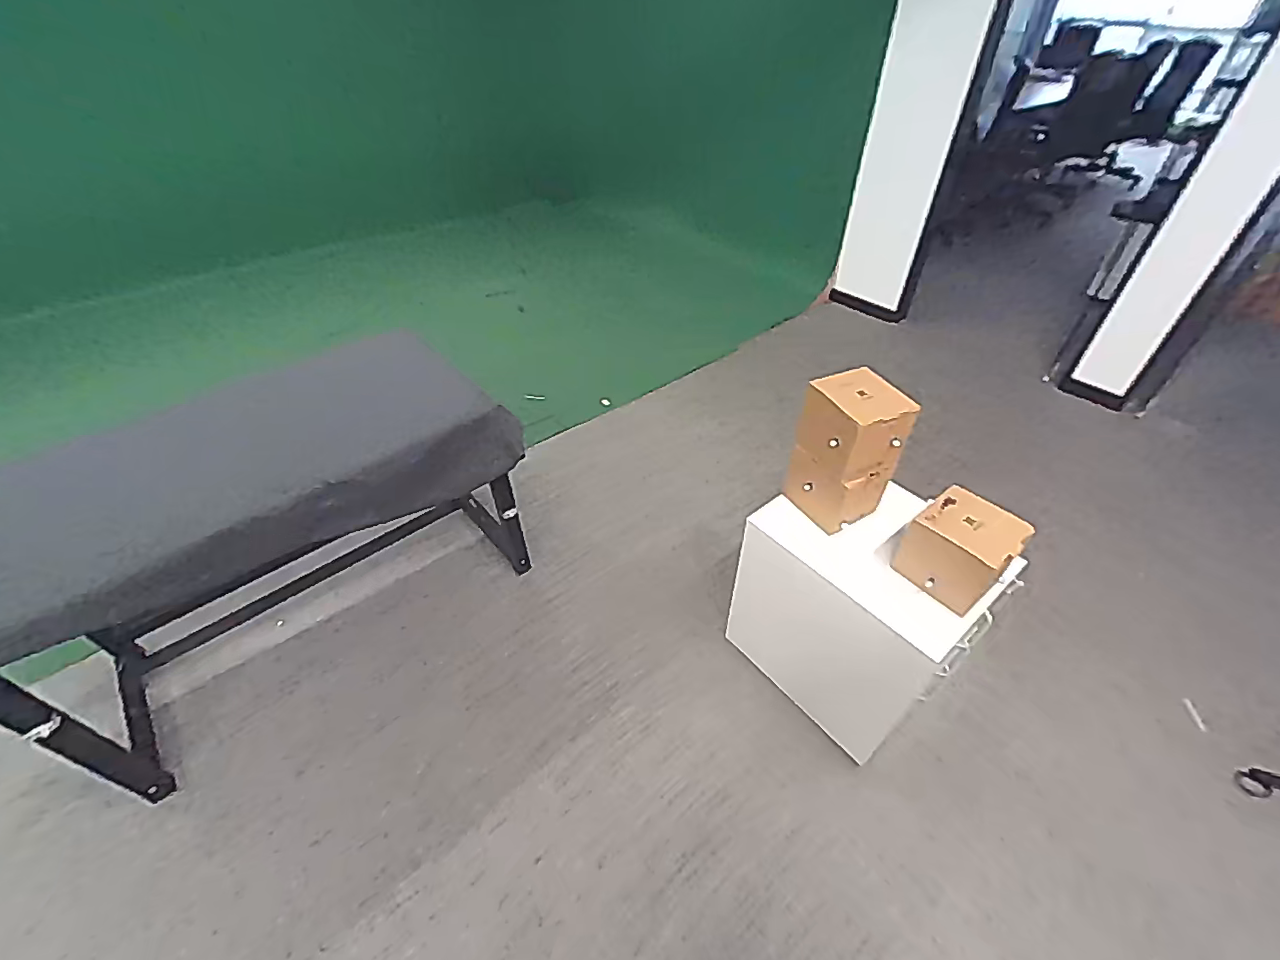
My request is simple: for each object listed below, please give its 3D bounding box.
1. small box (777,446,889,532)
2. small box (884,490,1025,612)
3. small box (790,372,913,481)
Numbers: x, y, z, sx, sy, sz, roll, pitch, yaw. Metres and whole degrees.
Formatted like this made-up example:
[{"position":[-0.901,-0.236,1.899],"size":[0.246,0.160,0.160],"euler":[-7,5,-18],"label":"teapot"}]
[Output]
[{"position":[0.466,0.006,1.330],"size":[0.168,0.176,0.179],"euler":[-22,47,-24],"label":"small box"},{"position":[0.671,0.159,1.170],"size":[0.168,0.176,0.179],"euler":[-28,50,-28],"label":"small box"},{"position":[0.468,-0.116,1.224],"size":[0.168,0.176,0.179],"euler":[-16,45,-20],"label":"small box"}]
